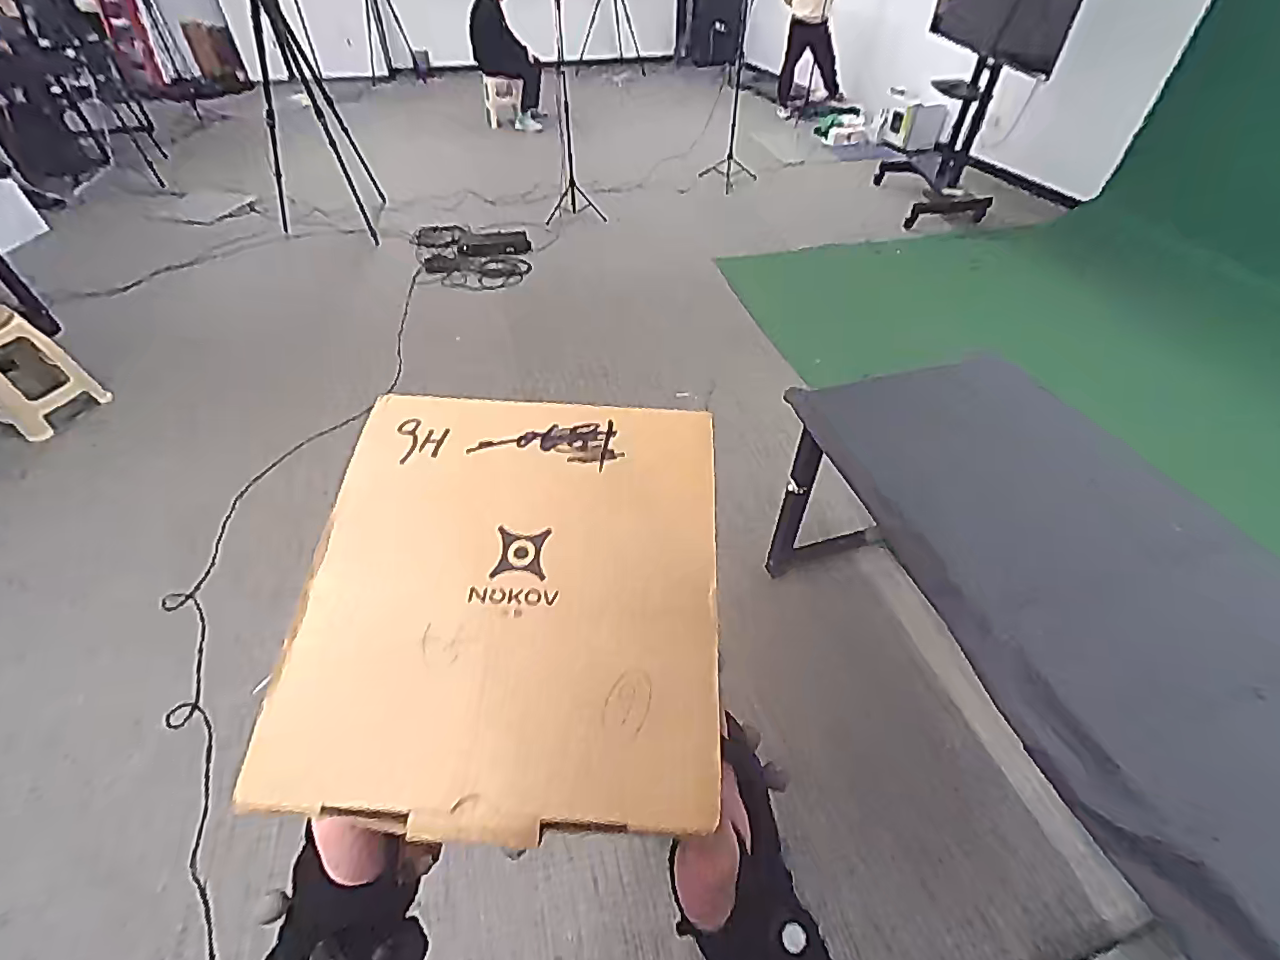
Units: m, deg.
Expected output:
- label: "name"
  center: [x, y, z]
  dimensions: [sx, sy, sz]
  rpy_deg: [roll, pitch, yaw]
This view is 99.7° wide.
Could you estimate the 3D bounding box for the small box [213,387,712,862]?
- label: "small box"
  center: [-0.056, 0.075, 0.283]
  dimensions: [0.168, 0.176, 0.179]
  rpy_deg: [4, 63, -1]
